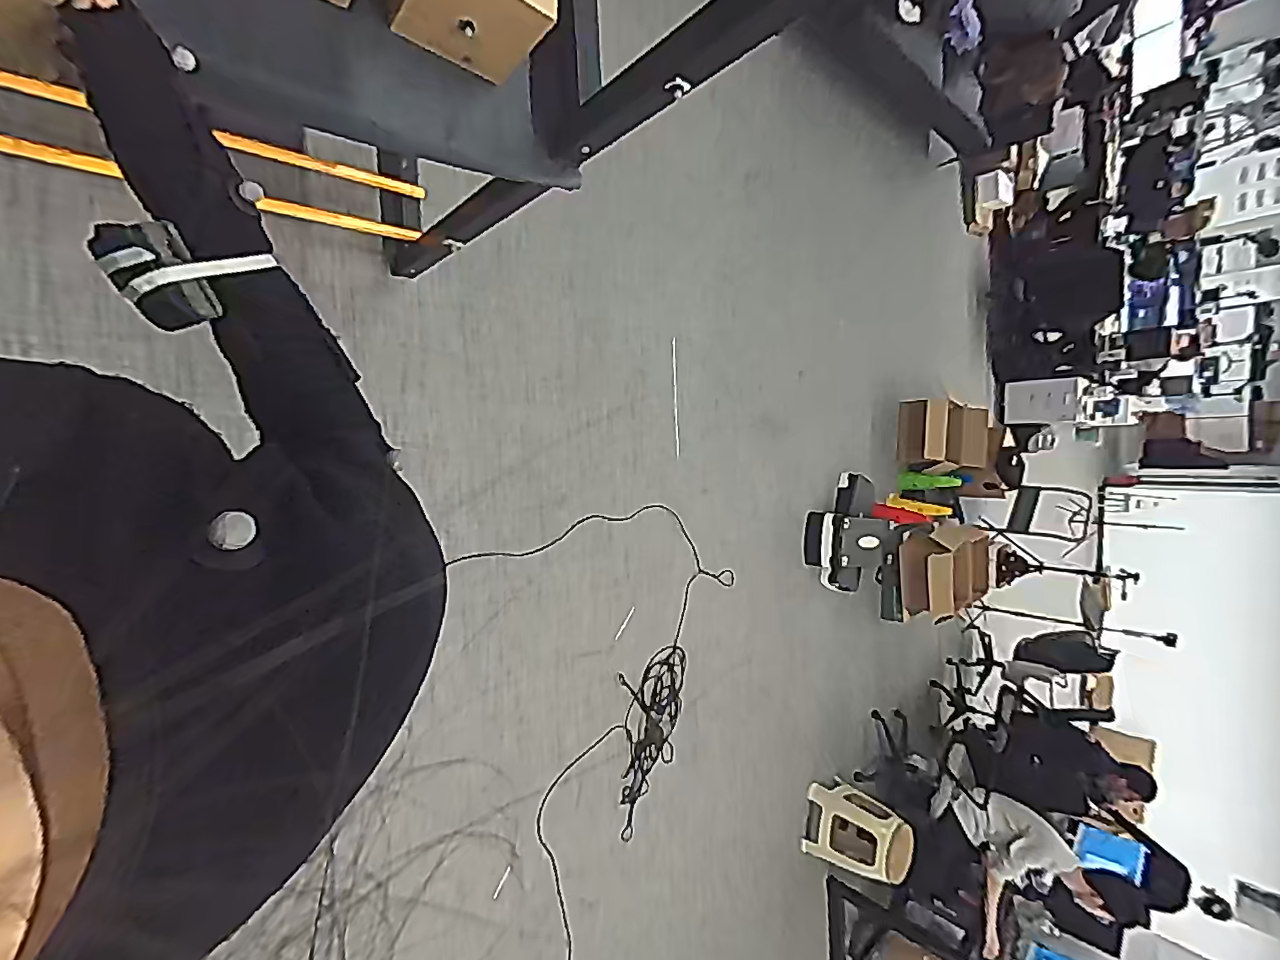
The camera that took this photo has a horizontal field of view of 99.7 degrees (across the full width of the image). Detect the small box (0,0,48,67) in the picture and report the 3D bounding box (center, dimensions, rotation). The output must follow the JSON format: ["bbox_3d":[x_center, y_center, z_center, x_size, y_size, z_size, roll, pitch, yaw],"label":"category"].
[{"bbox_3d":[-0.379,-0.313,0.222,0.168,0.176,0.179,-15,112,-46],"label":"small box"}]
